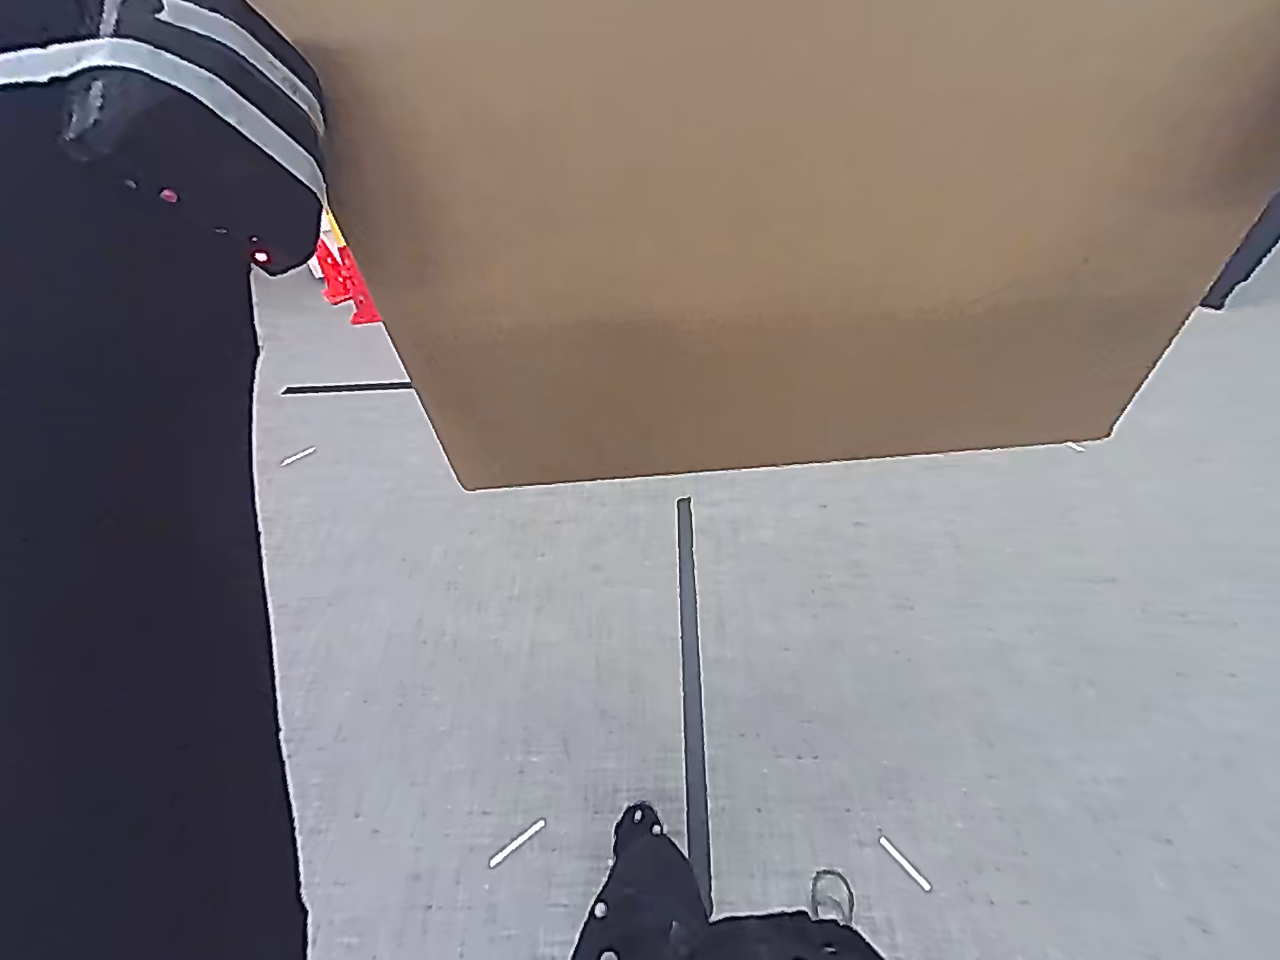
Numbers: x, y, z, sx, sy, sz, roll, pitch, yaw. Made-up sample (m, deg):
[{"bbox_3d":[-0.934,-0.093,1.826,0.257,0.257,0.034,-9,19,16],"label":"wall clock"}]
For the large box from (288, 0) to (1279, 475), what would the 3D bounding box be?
[{"bbox_3d":[0.067,-0.228,0.358,0.408,0.320,0.320,-5,45,1],"label":"large box"}]
